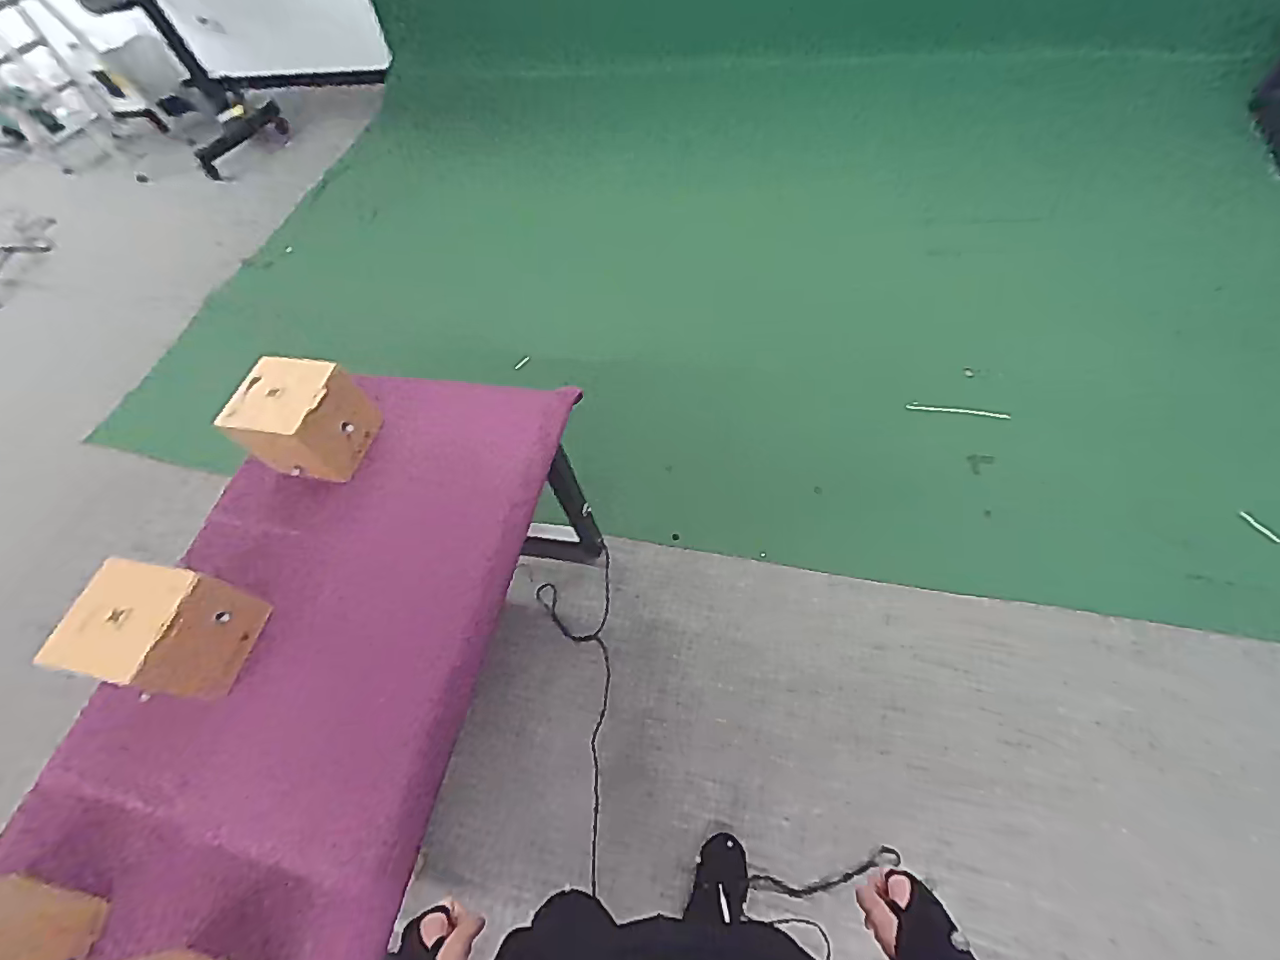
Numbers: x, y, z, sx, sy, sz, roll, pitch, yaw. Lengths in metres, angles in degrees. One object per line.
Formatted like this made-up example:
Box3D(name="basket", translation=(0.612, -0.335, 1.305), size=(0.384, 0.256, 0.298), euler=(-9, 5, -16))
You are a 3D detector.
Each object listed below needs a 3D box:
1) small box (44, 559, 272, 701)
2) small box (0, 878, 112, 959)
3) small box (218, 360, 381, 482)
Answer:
Box3D(name="small box", translation=(-0.746, 0.245, 0.863), size=(0.179, 0.176, 0.168), euler=(6, 60, 12))
Box3D(name="small box", translation=(-0.825, 0.605, 0.656), size=(0.179, 0.176, 0.168), euler=(5, 60, 12))
Box3D(name="small box", translation=(-0.649, -0.110, 1.058), size=(0.179, 0.176, 0.168), euler=(8, 61, 12))
